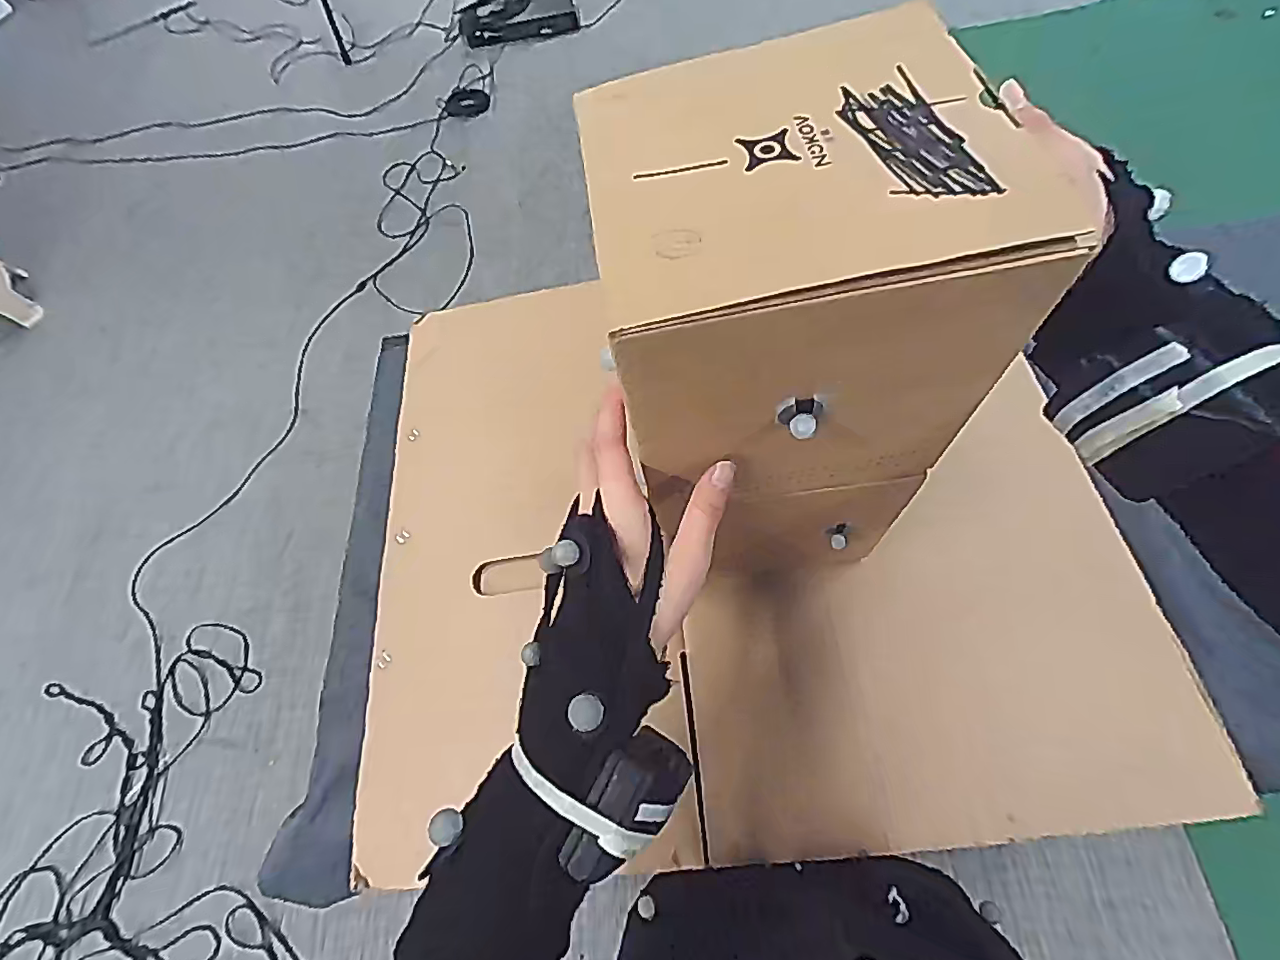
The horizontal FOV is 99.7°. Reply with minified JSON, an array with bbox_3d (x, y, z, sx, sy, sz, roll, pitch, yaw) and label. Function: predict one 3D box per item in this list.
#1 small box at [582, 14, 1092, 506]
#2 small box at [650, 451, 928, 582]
[{"bbox_3d":[0.075,-0.101,0.299,0.179,0.176,0.168,-10,62,4],"label":"small box"},{"bbox_3d":[0.097,-0.026,0.444,0.179,0.176,0.168,-9,62,5],"label":"small box"}]
